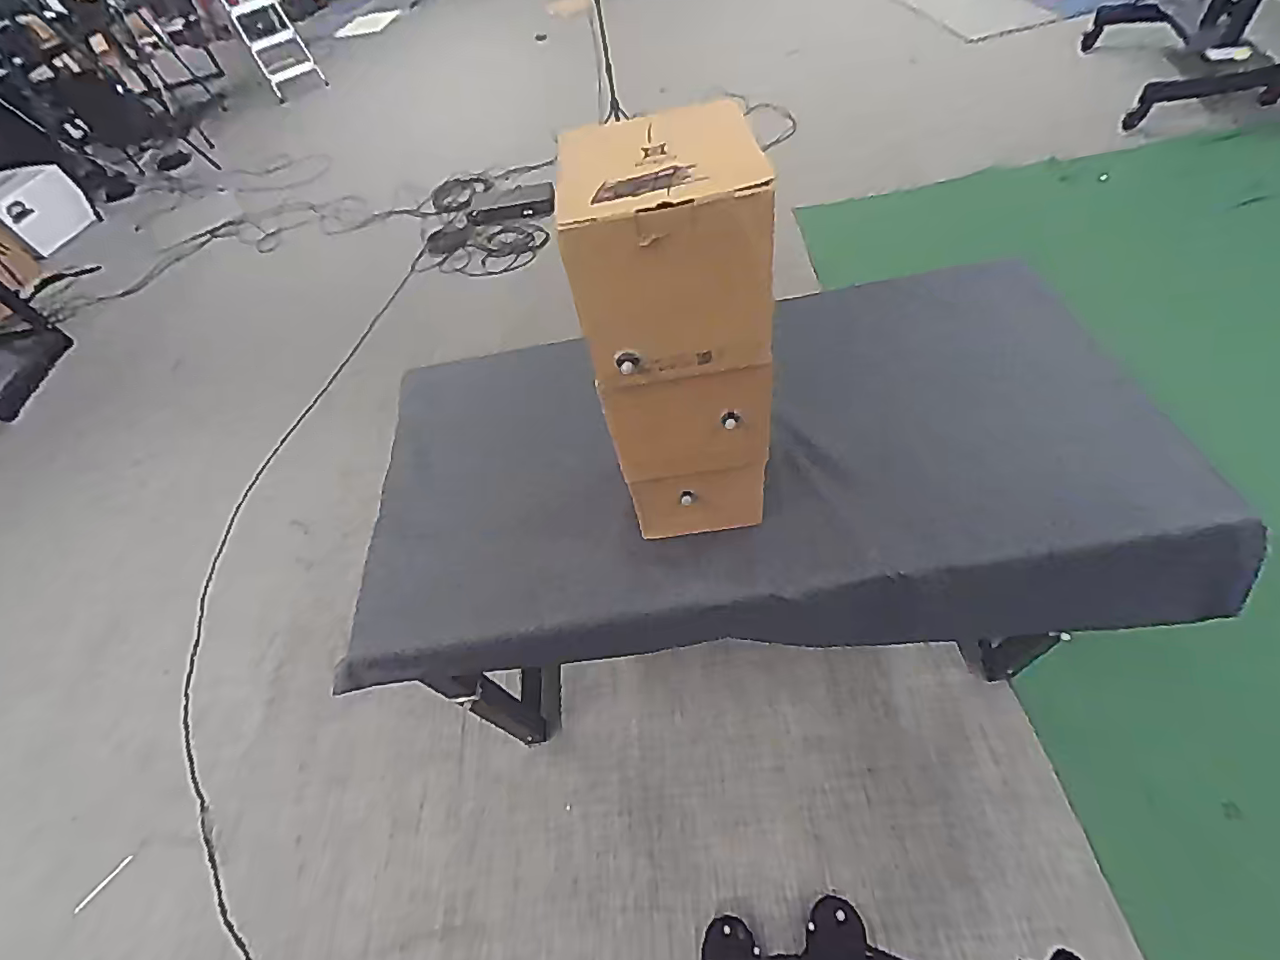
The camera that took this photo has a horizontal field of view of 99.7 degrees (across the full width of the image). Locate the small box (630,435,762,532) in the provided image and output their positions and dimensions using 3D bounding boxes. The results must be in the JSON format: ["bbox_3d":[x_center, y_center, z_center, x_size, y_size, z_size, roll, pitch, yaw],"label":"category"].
[{"bbox_3d":[0.073,-0.041,0.787,0.179,0.176,0.168,-10,52,2],"label":"small box"}]

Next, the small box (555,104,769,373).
[{"bbox_3d":[0.023,-0.216,0.513,0.168,0.176,0.179,-8,52,4],"label":"small box"}]

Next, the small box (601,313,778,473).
[{"bbox_3d":[0.048,-0.130,0.630,0.179,0.176,0.168,-11,53,2],"label":"small box"}]
